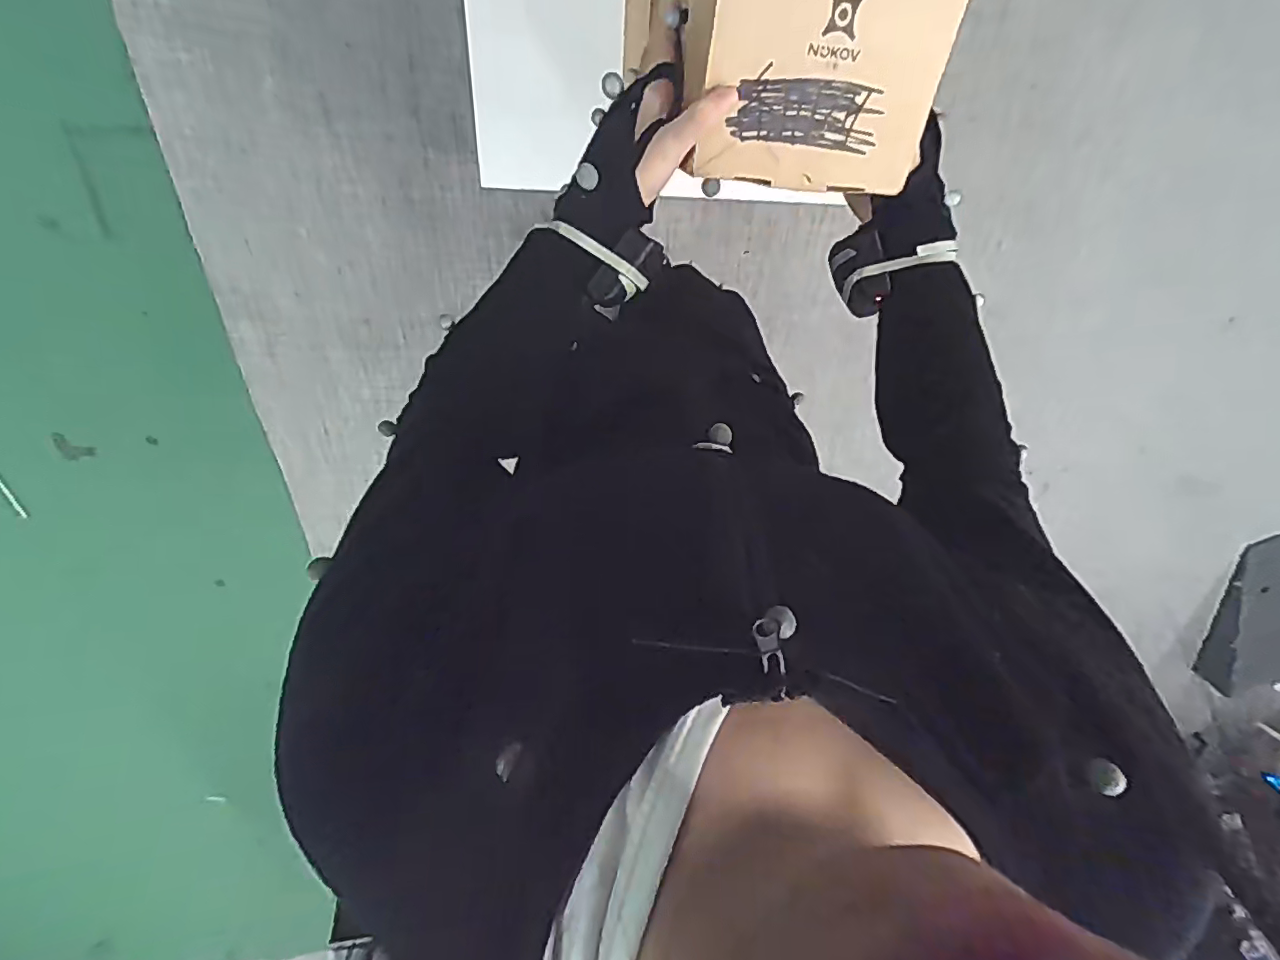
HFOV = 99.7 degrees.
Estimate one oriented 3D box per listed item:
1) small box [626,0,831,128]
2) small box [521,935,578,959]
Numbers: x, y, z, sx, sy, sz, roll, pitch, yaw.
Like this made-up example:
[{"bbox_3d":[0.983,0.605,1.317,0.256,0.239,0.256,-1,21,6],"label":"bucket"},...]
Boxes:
[{"bbox_3d":[0.078,-0.466,0.545,0.168,0.176,0.179,-2,123,-9],"label":"small box"},{"bbox_3d":[-0.264,1.490,1.602,0.168,0.176,0.179,-3,124,-9],"label":"small box"}]
